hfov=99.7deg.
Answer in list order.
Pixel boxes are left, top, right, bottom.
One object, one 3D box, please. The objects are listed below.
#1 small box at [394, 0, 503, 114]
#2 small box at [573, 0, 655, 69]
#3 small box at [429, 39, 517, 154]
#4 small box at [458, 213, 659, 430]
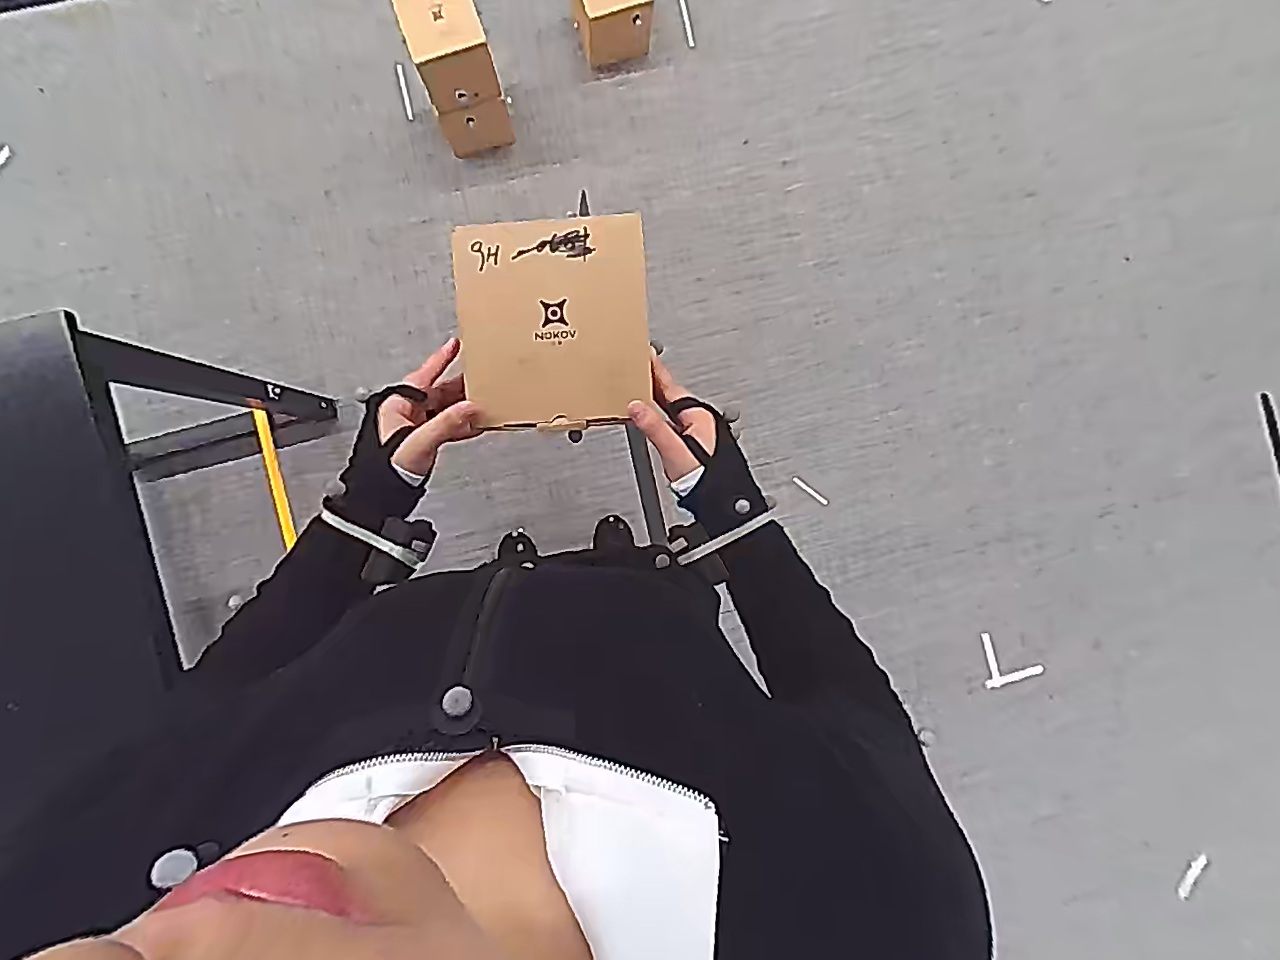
[{"bbox_3d":[-0.430,-0.990,1.232,0.168,0.176,0.179,-20,92,-1],"label":"small box"},{"bbox_3d":[-0.073,-1.233,1.415,0.179,0.176,0.168,-19,91,-3],"label":"small box"},{"bbox_3d":[-0.435,-0.979,1.394,0.179,0.176,0.168,-16,91,-3],"label":"small box"},{"bbox_3d":[-0.067,-0.146,0.547,0.168,0.176,0.179,-3,96,2],"label":"small box"}]
